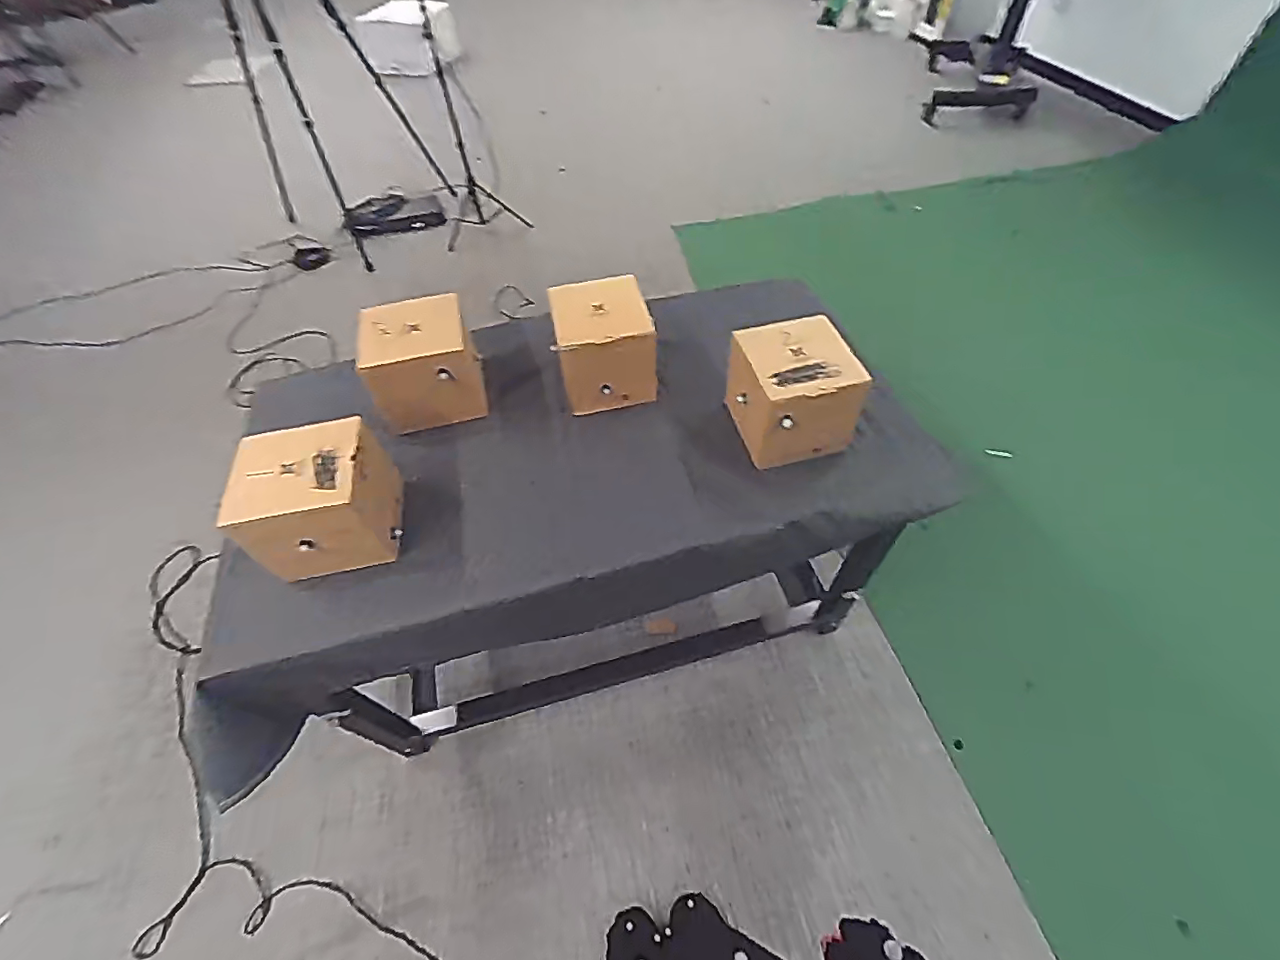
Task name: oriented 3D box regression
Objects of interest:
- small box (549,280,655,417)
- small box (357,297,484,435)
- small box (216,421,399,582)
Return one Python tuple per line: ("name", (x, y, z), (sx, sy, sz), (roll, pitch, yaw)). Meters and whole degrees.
("small box", (-0.073, -0.248, 1.026), (0.168, 0.176, 0.179), (-12, 55, -7))
("small box", (-0.397, -0.208, 1.004), (0.179, 0.176, 0.168), (-13, 55, -7))
("small box", (-0.488, 0.036, 0.829), (0.179, 0.176, 0.168), (-11, 53, -5))
